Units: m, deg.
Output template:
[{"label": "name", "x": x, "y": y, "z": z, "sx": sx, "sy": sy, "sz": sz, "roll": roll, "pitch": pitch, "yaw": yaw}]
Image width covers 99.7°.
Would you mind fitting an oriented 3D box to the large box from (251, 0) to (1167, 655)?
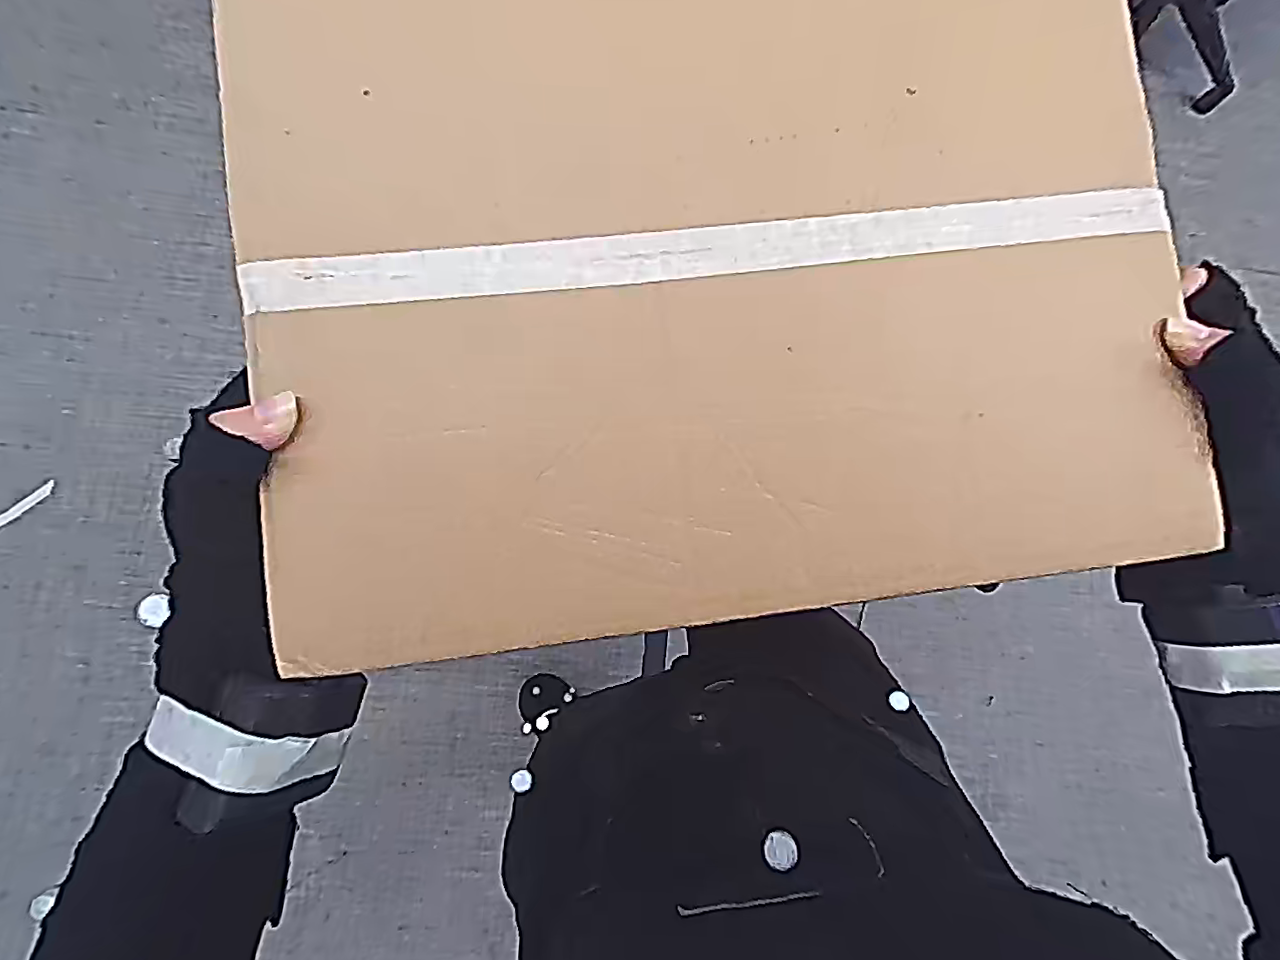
[{"label": "large box", "x": 0.032, "y": -0.095, "z": 0.398, "sx": 0.408, "sy": 0.320, "sz": 0.320, "roll": -7, "pitch": 87, "yaw": -5}]
